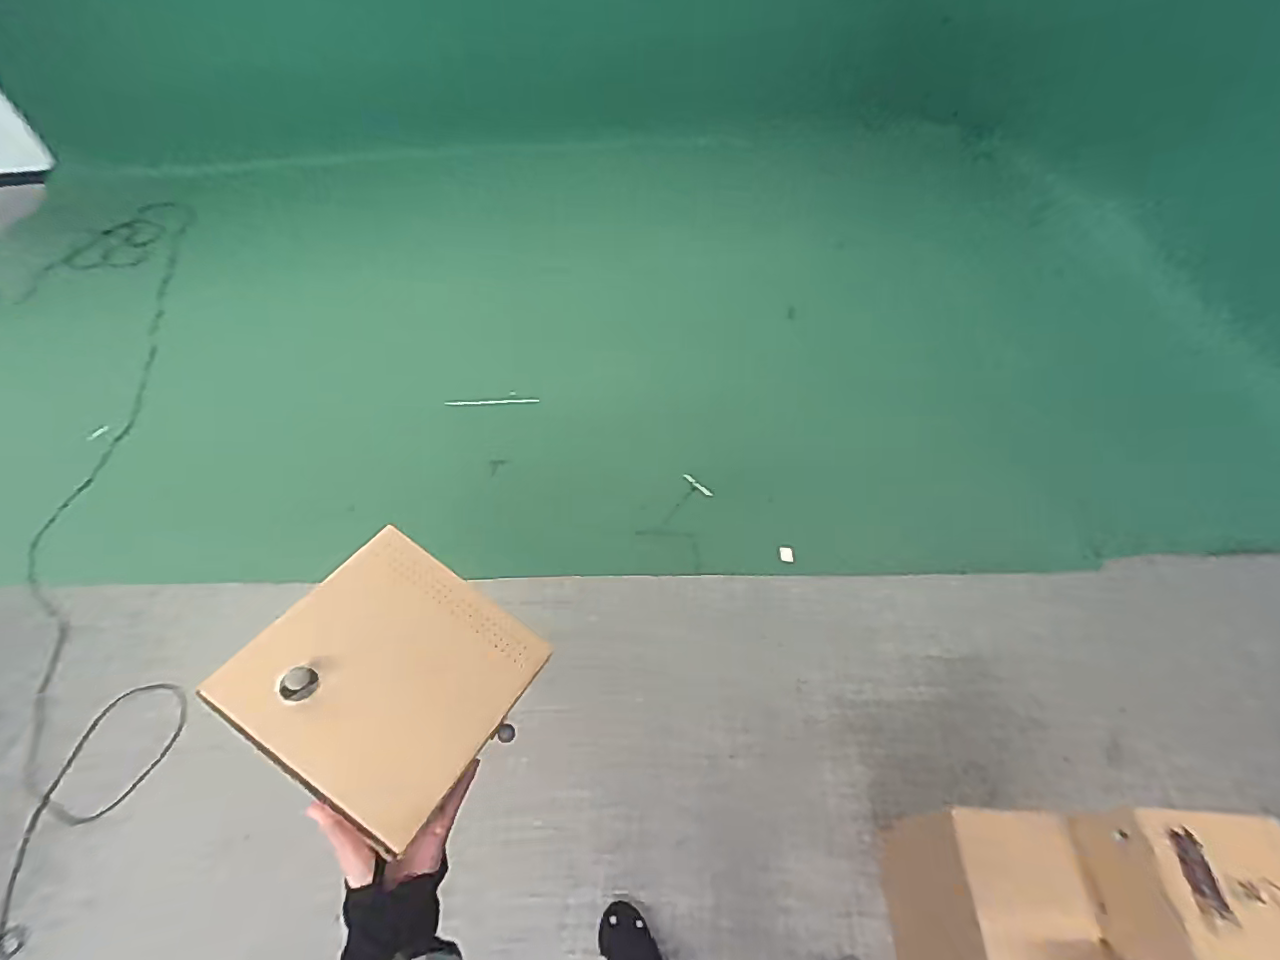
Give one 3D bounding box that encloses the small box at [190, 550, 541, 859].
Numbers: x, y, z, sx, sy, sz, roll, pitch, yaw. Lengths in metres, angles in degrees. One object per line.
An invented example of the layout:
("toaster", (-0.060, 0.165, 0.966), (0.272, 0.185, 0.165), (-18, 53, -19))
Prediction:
("small box", (-0.215, 0.183, 0.461), (0.179, 0.168, 0.176), (36, 52, 3))
